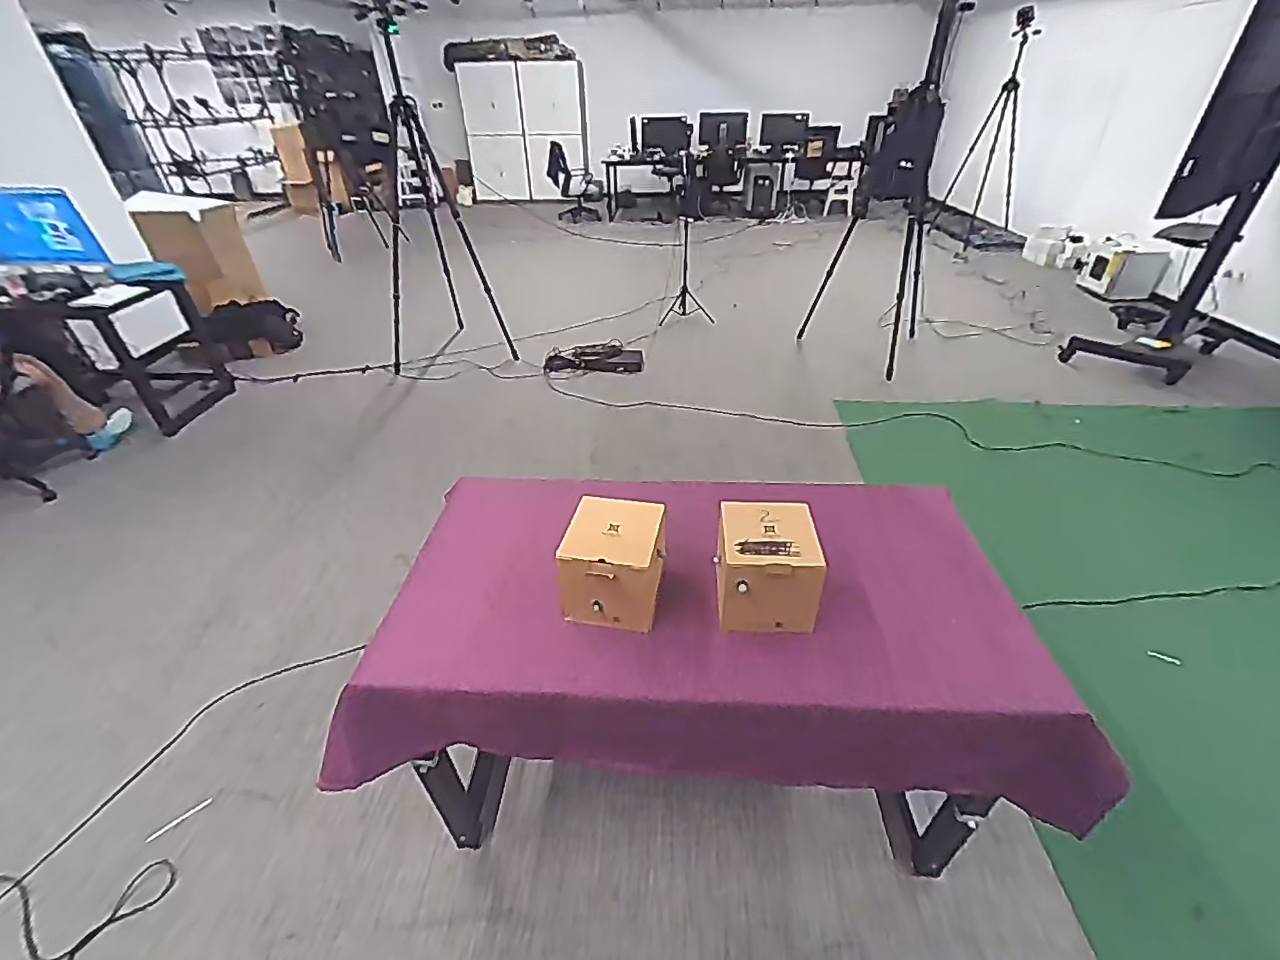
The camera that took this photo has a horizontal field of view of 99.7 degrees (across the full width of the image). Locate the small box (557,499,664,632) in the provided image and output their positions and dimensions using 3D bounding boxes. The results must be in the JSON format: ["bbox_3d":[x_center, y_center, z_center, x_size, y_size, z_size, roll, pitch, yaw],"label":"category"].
[{"bbox_3d":[-0.050,0.163,1.043,0.168,0.176,0.179,6,37,10],"label":"small box"}]
